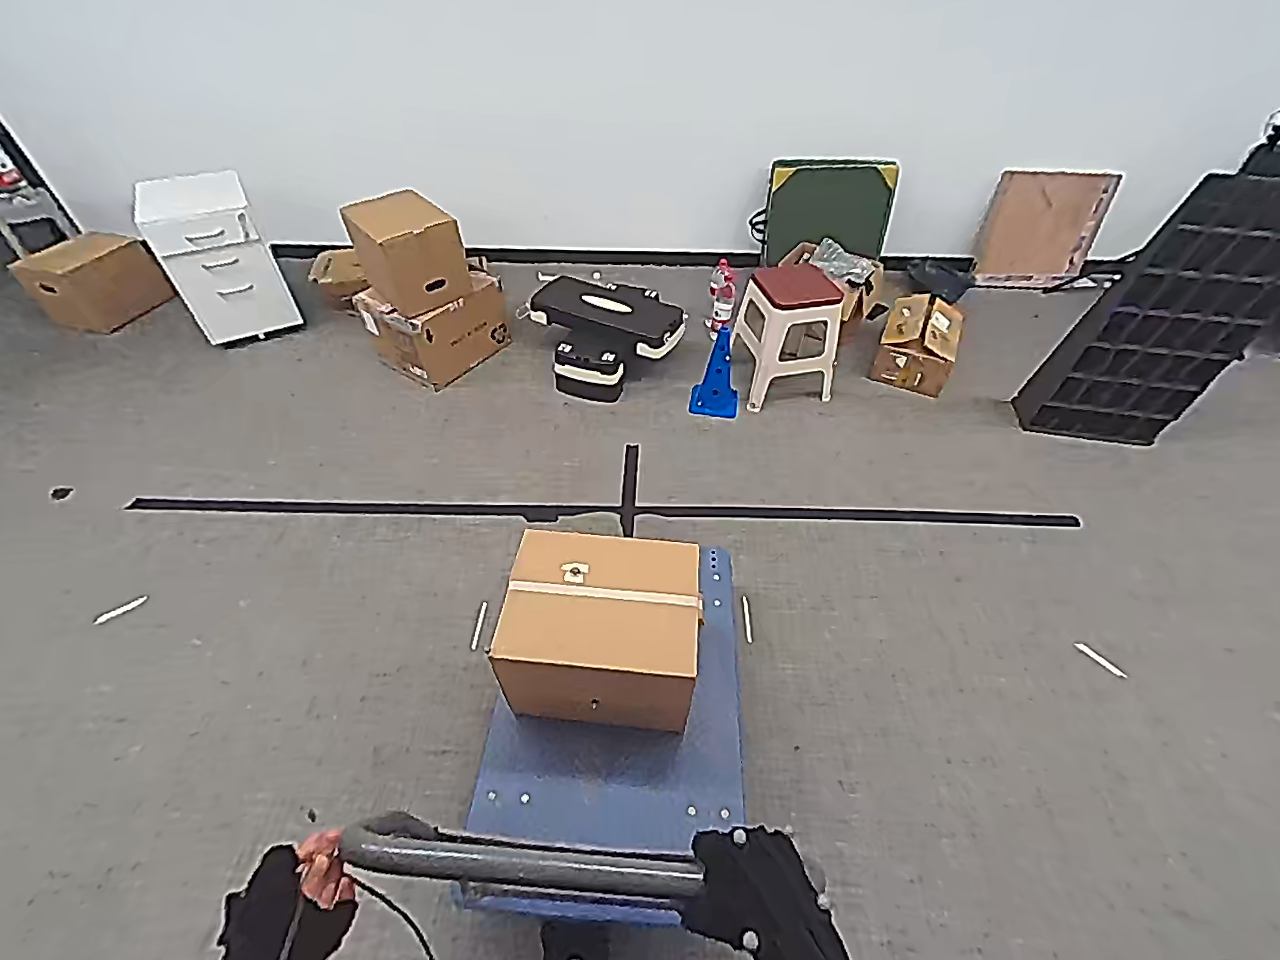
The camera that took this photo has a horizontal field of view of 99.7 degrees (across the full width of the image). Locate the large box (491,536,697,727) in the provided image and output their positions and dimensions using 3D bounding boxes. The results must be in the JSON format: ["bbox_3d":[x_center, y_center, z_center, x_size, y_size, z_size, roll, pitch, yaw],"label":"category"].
[{"bbox_3d":[-0.078,0.352,1.246,0.408,0.320,0.320,4,47,4],"label":"large box"}]
